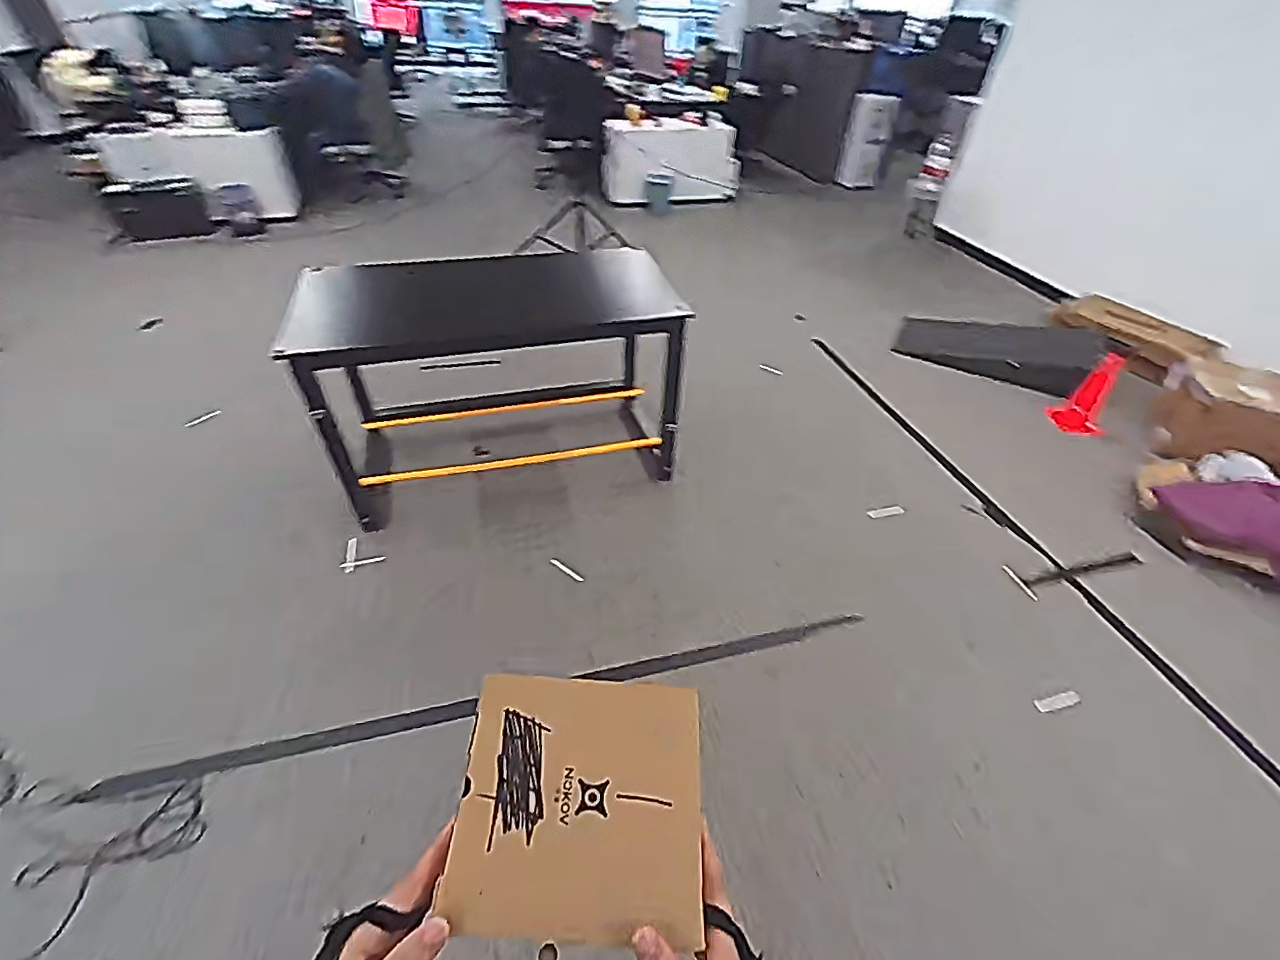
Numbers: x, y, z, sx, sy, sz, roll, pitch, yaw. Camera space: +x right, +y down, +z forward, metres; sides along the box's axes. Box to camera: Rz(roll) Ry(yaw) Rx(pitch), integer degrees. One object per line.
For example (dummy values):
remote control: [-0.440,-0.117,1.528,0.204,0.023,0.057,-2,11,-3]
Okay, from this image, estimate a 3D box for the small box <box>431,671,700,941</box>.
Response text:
small box: [-0.050,0.277,0.456,0.179,0.176,0.168,5,50,-3]
